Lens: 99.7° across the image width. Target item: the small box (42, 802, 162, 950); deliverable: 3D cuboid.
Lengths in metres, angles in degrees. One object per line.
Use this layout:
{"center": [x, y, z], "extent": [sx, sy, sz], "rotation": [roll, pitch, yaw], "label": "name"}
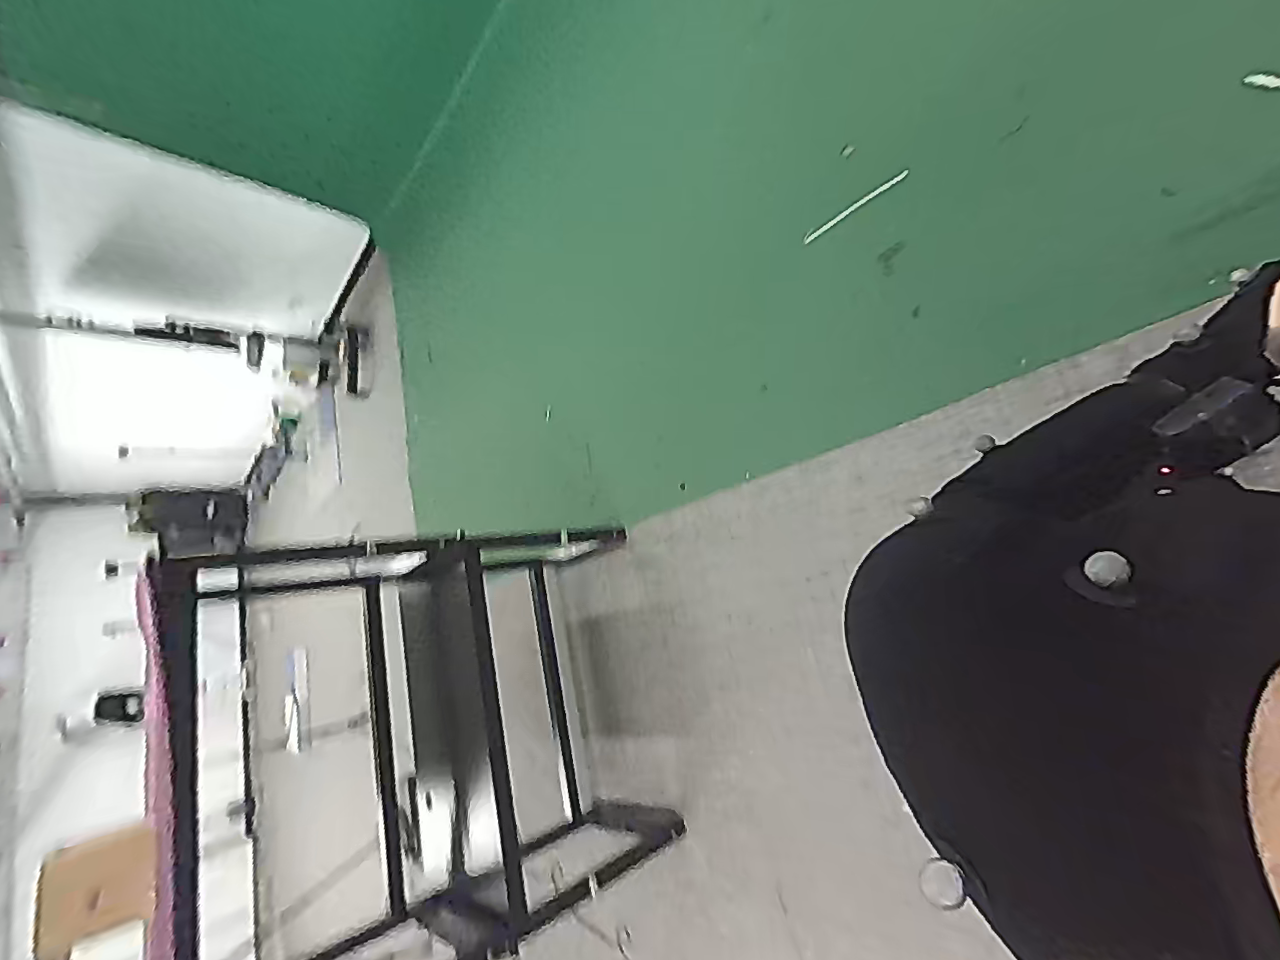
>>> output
{"center": [-1.108, 0.806, 1.122], "extent": [0.168, 0.176, 0.179], "rotation": [-22, 74, 43], "label": "small box"}
